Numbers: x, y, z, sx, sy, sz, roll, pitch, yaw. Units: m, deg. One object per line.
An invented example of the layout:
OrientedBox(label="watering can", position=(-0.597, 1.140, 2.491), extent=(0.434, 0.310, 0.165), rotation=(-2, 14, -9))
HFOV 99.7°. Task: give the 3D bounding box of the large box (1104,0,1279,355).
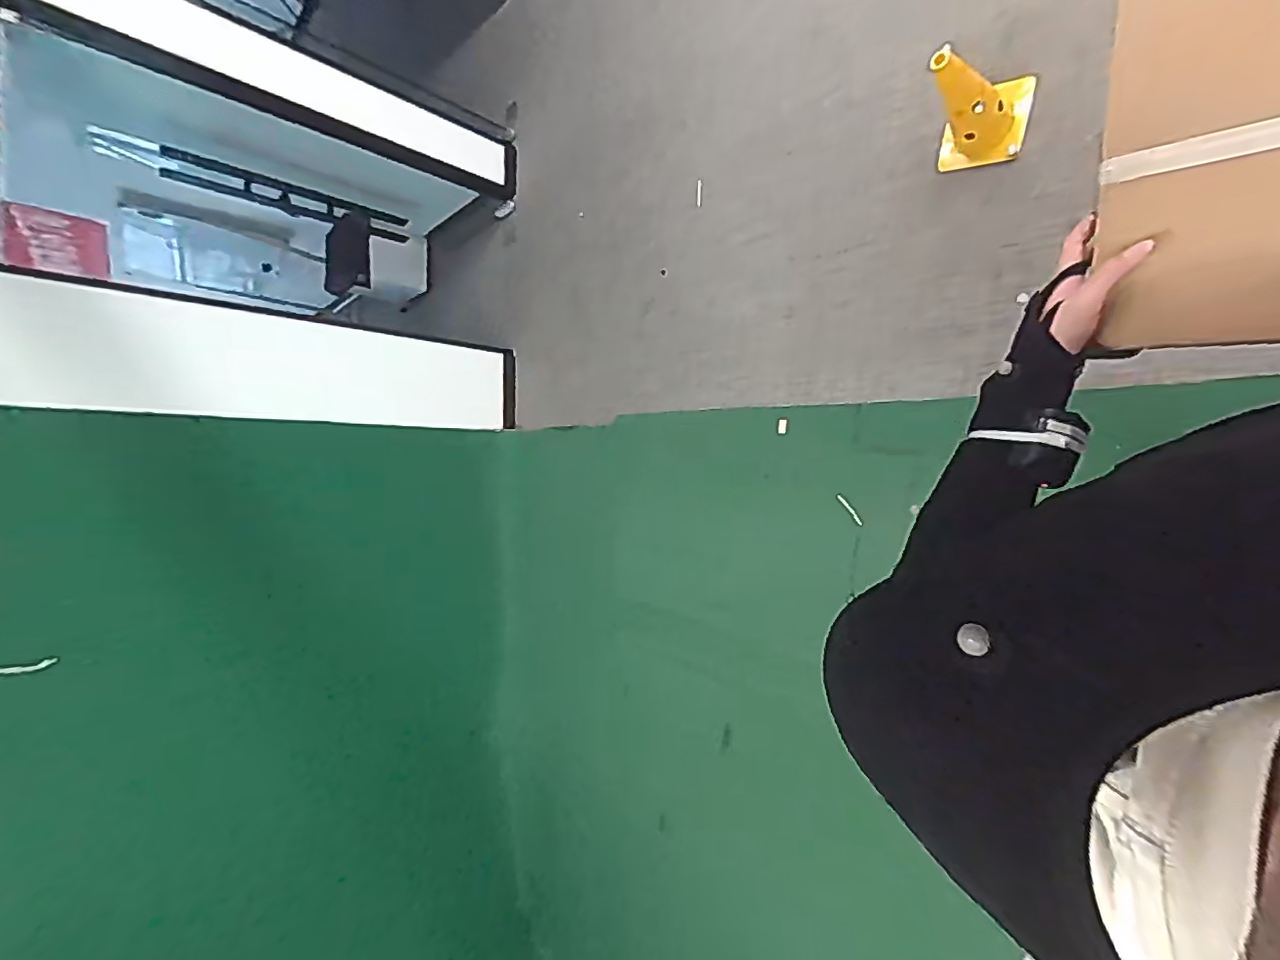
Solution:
OrientedBox(label="large box", position=(0.671, -0.285, 0.446), extent=(0.408, 0.320, 0.320), rotation=(7, 108, 46))
